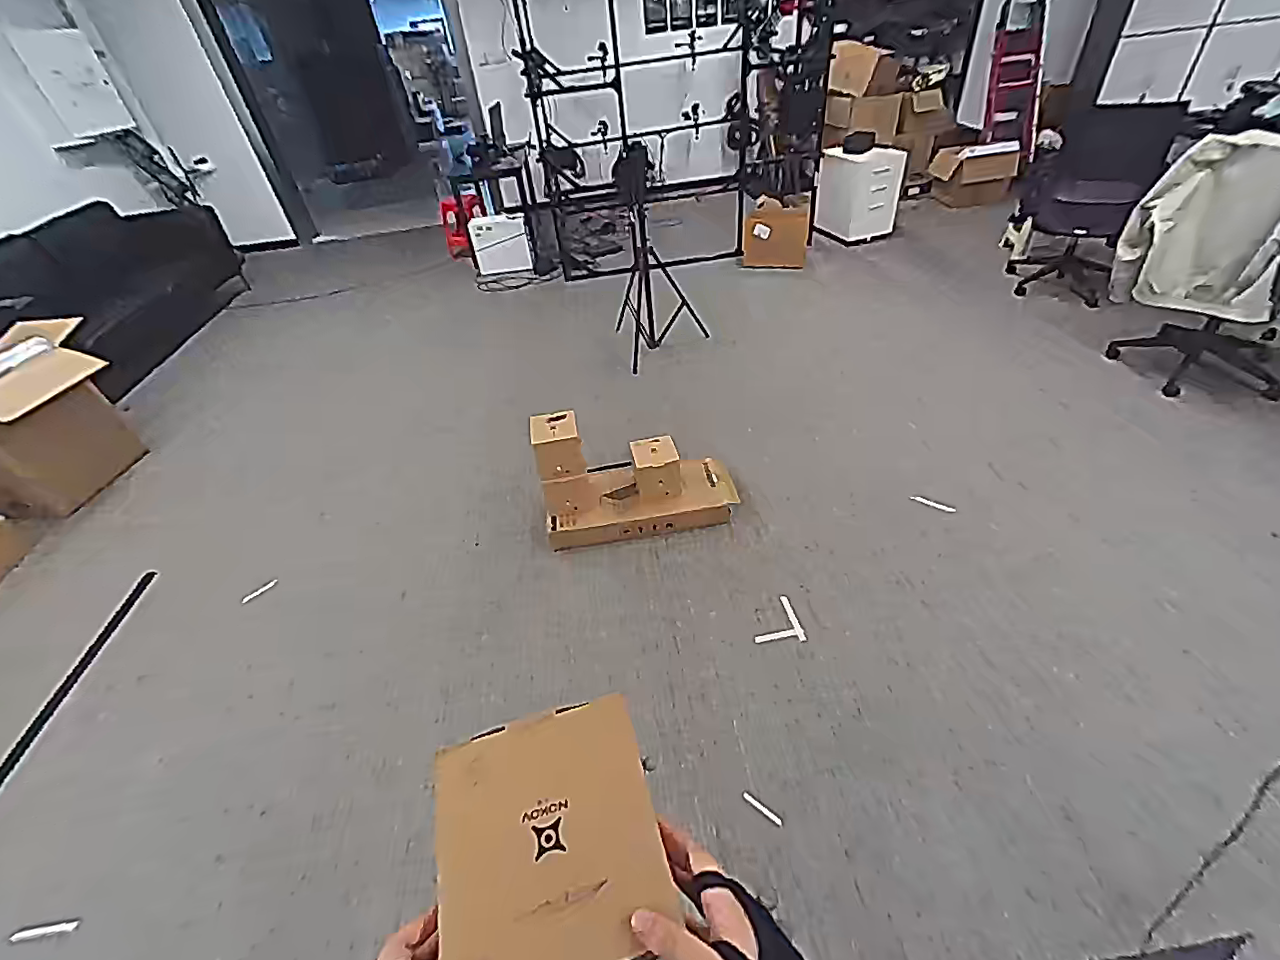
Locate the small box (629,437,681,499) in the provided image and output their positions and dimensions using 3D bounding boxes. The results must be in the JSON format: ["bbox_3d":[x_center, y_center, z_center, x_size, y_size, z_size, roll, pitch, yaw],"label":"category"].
[{"bbox_3d":[0.059,-0.041,2.108,0.168,0.176,0.179,-11,40,-5],"label":"small box"}]

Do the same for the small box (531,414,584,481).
[{"bbox_3d":[-0.304,-0.121,2.000,0.168,0.176,0.179,-10,40,-4],"label":"small box"}]

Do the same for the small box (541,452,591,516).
[{"bbox_3d":[-0.285,0.015,2.092,0.168,0.176,0.179,-10,39,-3],"label":"small box"}]

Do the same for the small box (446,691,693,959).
[{"bbox_3d":[-0.061,0.318,0.468,0.168,0.176,0.179,-14,48,-8],"label":"small box"}]
